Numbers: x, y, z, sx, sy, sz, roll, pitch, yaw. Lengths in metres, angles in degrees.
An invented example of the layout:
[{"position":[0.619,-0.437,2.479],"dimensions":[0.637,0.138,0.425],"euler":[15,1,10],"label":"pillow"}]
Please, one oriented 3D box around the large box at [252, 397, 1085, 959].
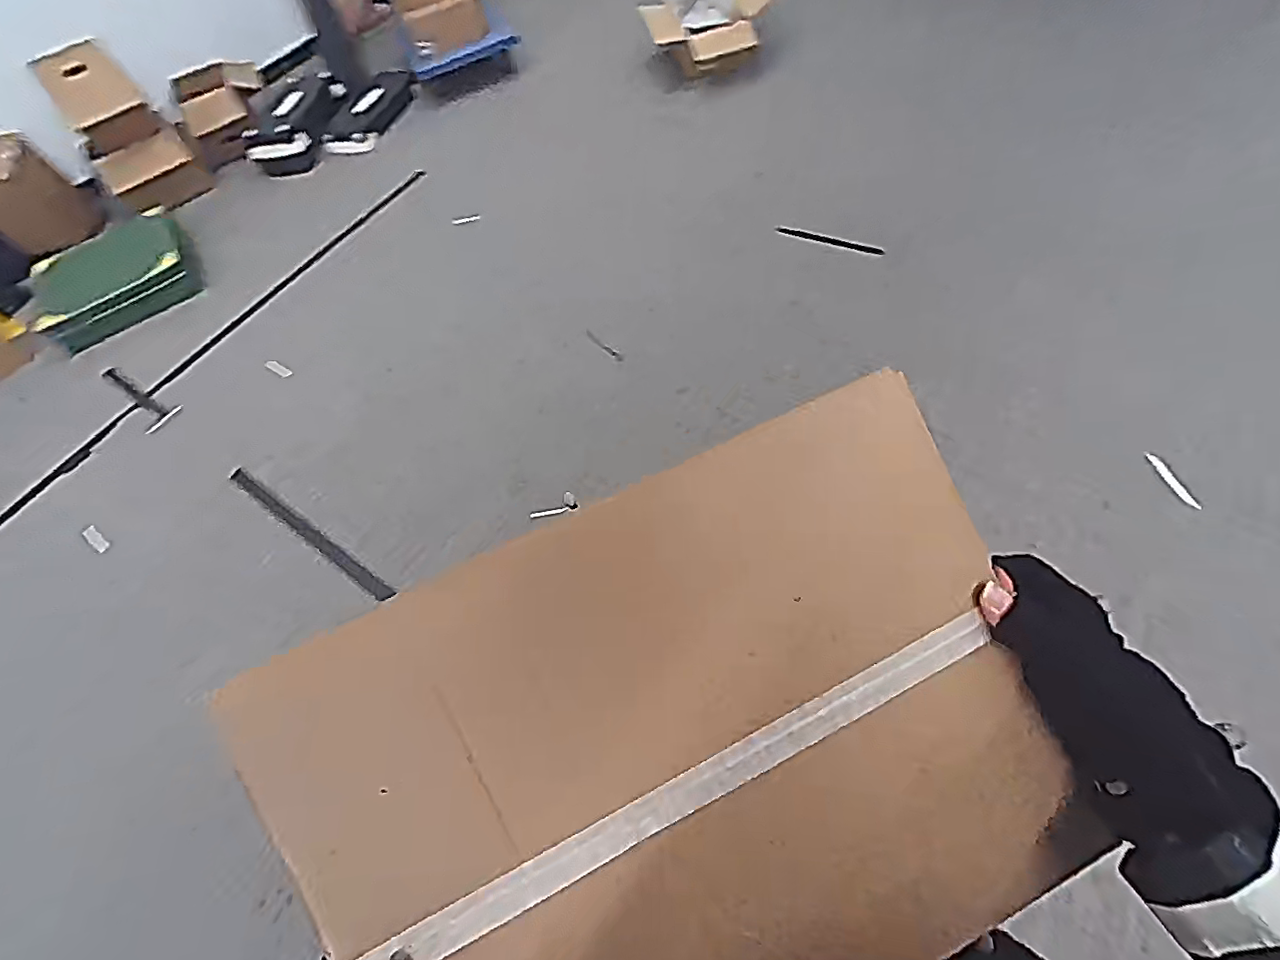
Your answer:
[{"position":[0.021,0.172,0.454],"dimensions":[0.408,0.320,0.320],"euler":[-26,91,-7],"label":"large box"}]
